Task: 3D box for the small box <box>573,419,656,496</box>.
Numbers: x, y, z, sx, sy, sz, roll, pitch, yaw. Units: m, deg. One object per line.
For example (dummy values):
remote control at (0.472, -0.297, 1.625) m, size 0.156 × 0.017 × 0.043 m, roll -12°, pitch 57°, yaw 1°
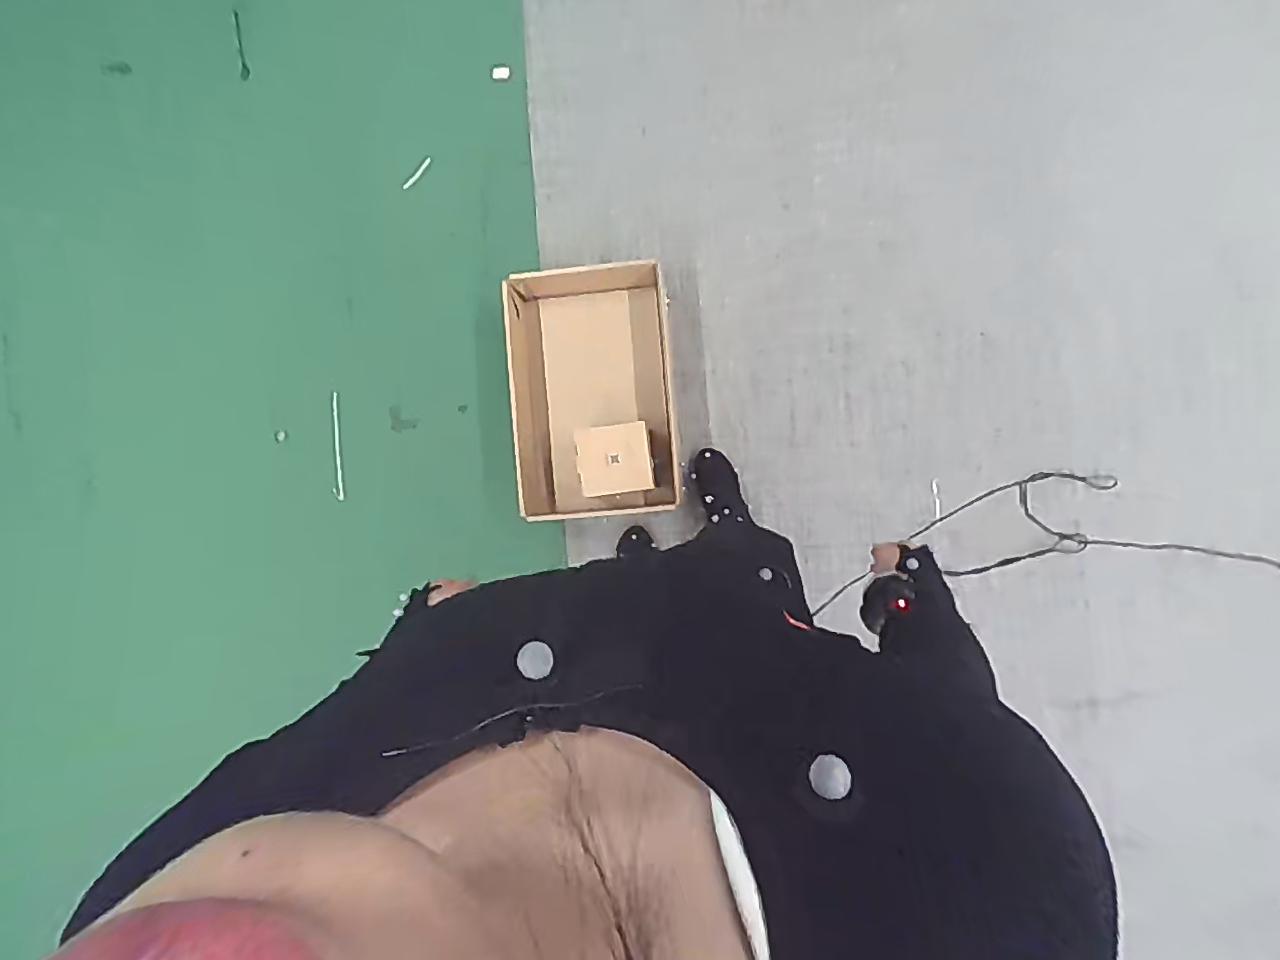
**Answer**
small box at (-0.060, -0.051, 1.359) m, size 0.179 × 0.176 × 0.168 m, roll -8°, pitch 88°, yaw 4°
